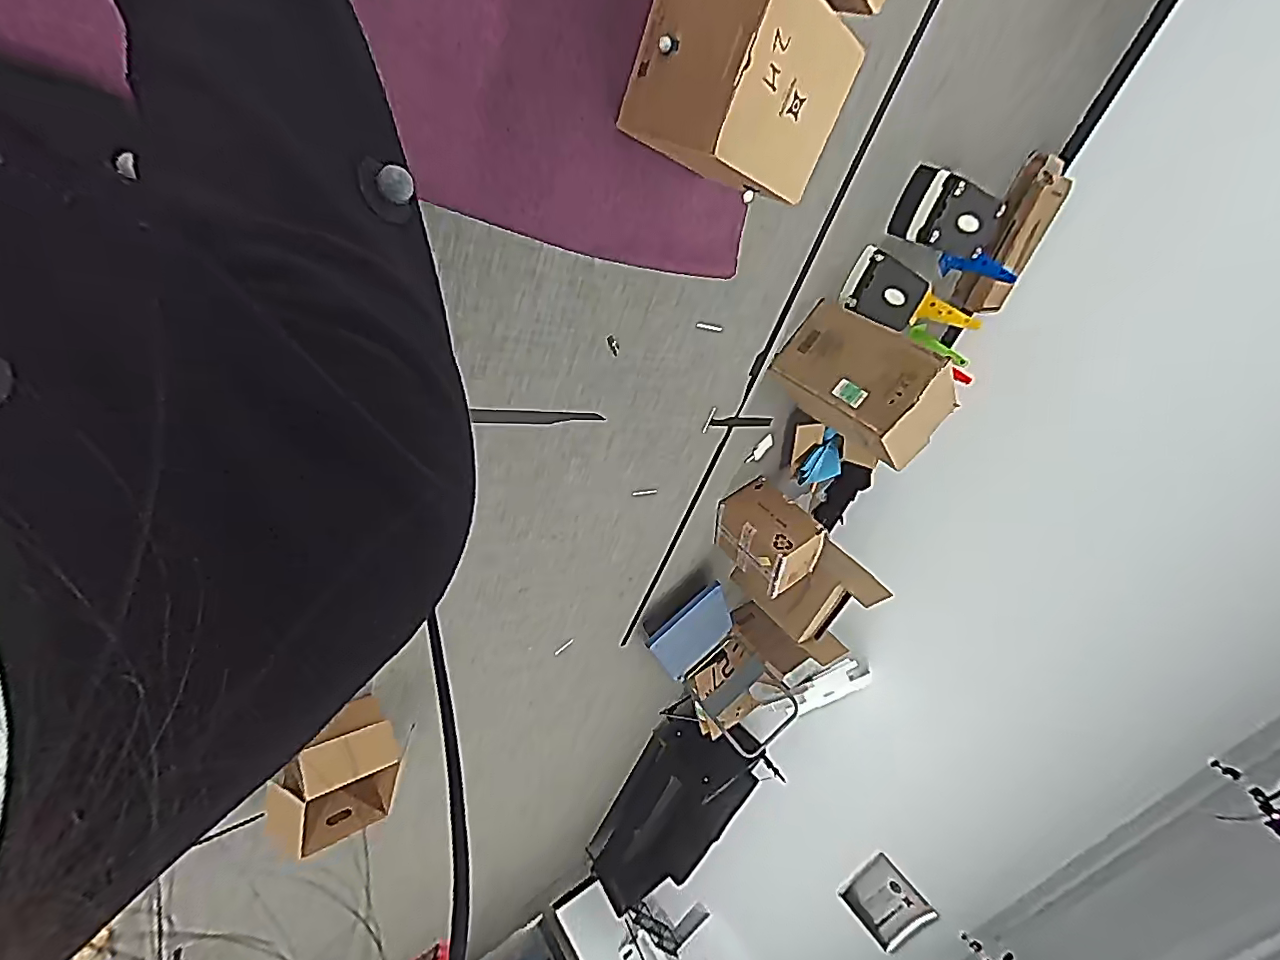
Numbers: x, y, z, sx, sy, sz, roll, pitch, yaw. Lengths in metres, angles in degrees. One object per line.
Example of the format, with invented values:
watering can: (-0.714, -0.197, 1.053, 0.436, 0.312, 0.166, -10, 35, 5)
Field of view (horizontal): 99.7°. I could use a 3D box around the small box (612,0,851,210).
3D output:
small box: (0.101, -0.444, 0.627, 0.179, 0.176, 0.168, -4, 125, -45)
